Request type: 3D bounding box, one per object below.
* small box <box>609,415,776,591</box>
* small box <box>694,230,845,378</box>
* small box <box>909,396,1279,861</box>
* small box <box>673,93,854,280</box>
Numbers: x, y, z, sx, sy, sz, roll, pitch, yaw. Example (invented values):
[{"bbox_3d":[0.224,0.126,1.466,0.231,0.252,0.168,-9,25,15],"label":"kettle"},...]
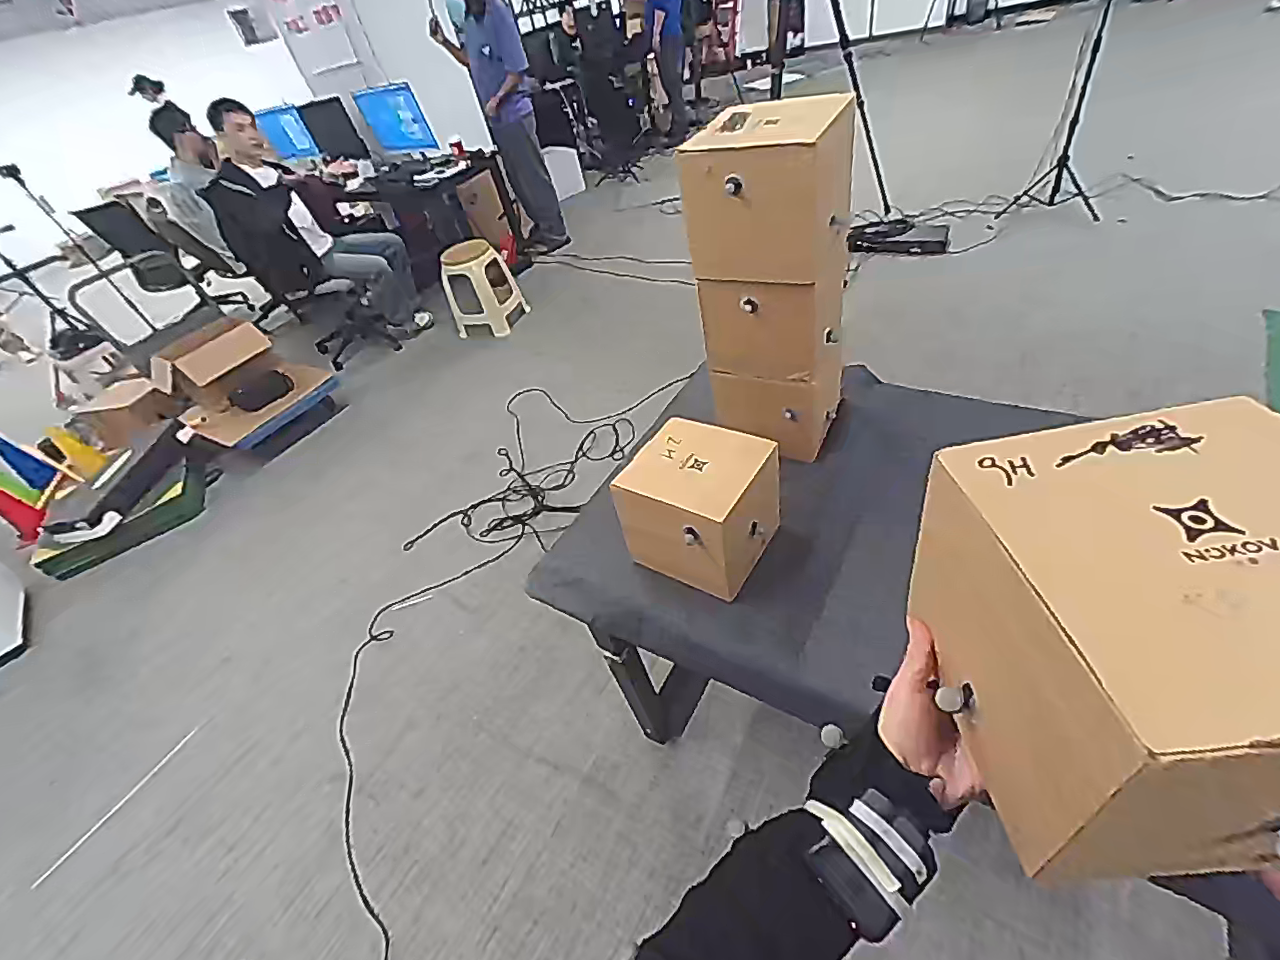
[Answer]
[{"bbox_3d":[0.086,0.035,0.786,0.179,0.176,0.168,18,50,31],"label":"small box"},{"bbox_3d":[0.204,-0.277,0.838,0.179,0.176,0.168,14,53,27],"label":"small box"},{"bbox_3d":[0.267,0.084,0.292,0.168,0.176,0.179,-10,41,7],"label":"small box"},{"bbox_3d":[0.168,-0.383,0.718,0.179,0.176,0.168,15,54,28],"label":"small box"}]
